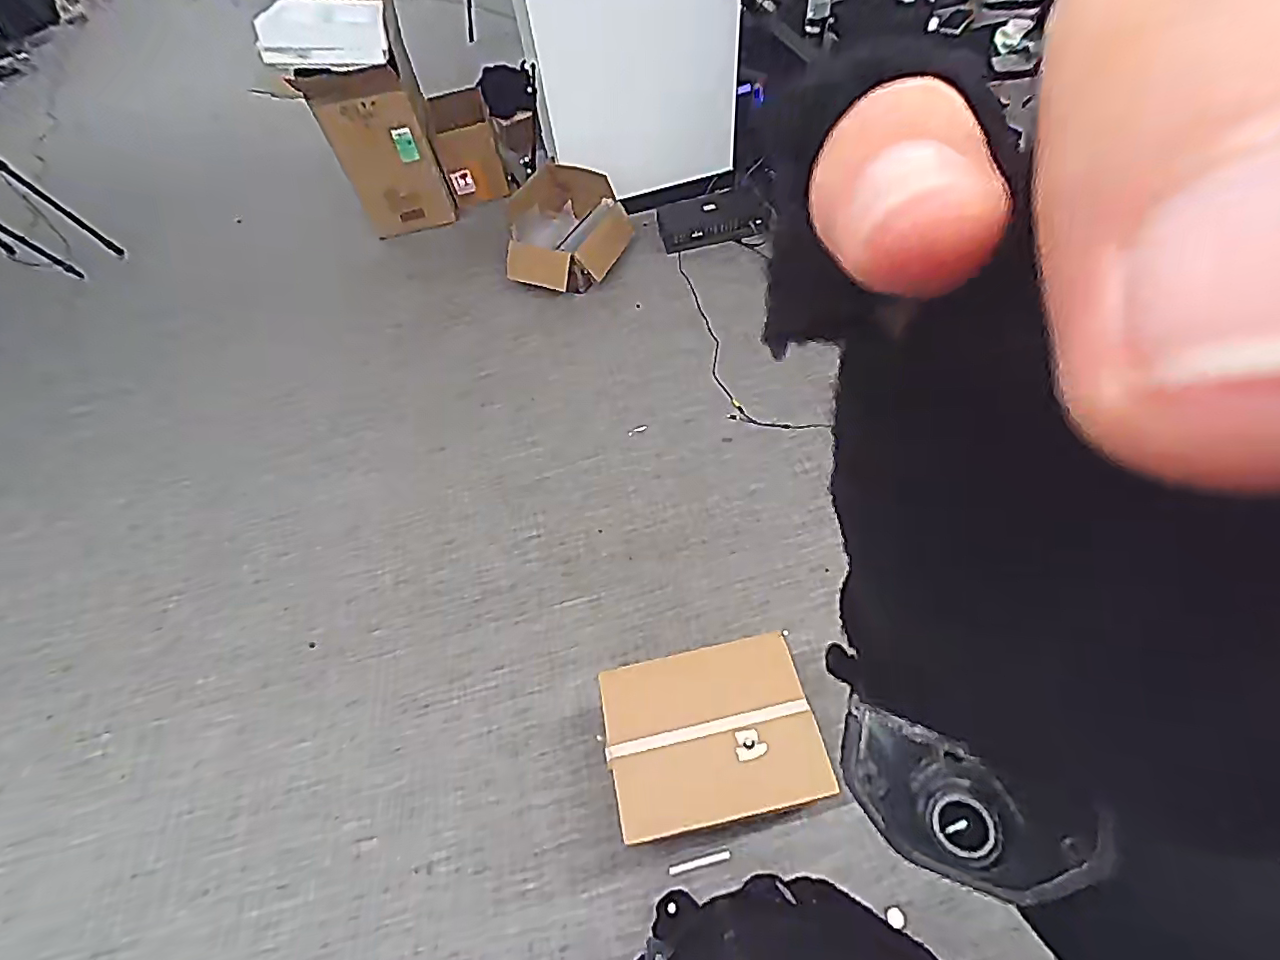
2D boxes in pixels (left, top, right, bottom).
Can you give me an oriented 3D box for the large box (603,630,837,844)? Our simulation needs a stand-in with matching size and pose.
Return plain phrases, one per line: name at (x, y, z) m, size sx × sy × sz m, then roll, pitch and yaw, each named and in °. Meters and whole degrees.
large box at (0.156, 0.573, 1.193) m, size 0.408 × 0.320 × 0.320 m, roll -12°, pitch 55°, yaw -2°
